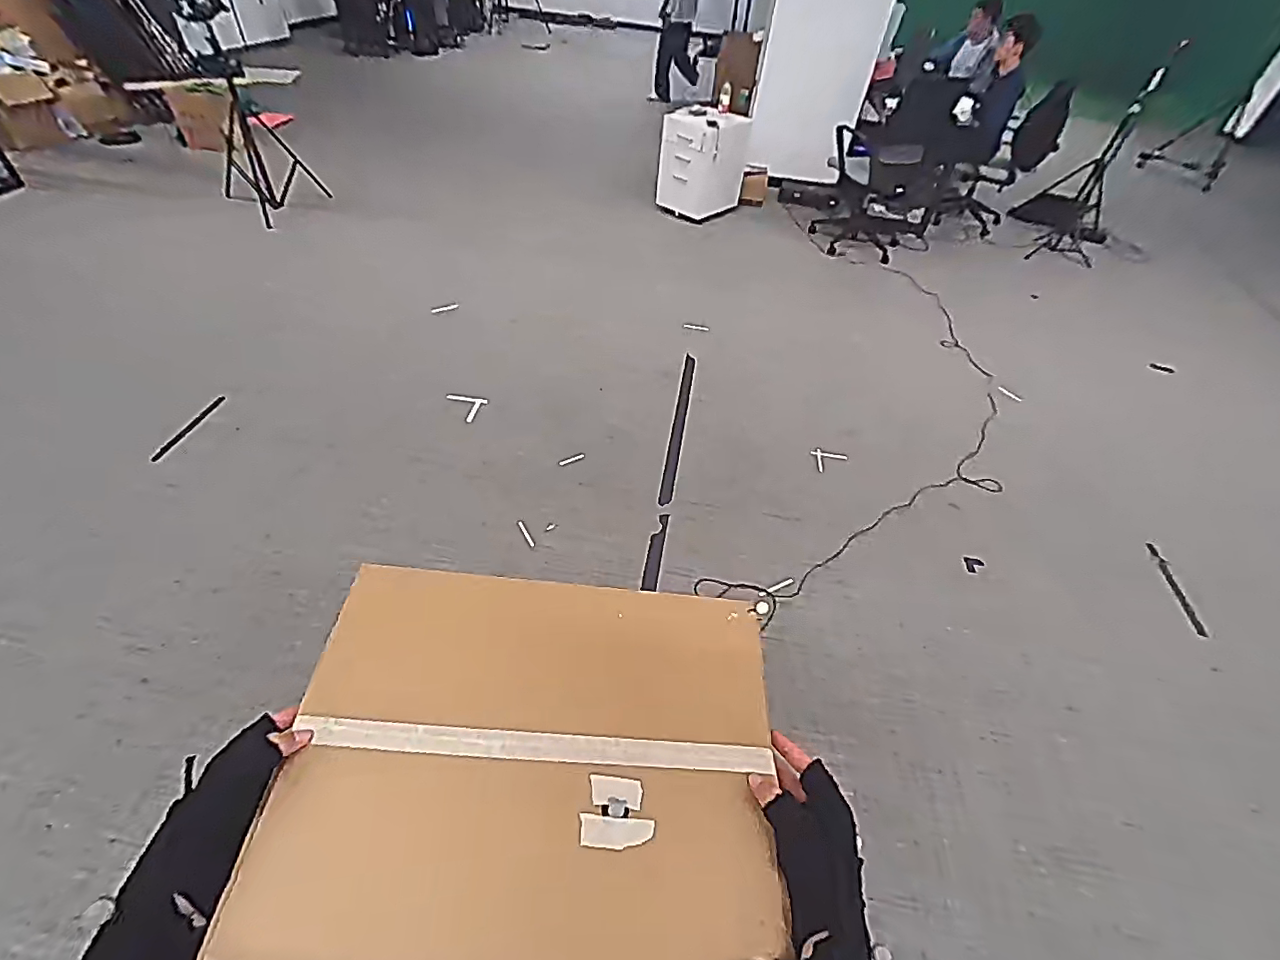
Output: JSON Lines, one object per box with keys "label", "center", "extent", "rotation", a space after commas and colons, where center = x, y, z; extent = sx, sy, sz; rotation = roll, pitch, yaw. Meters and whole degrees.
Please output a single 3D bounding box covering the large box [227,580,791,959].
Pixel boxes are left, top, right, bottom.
{"label": "large box", "center": [-0.102, 0.333, 0.583], "extent": [0.408, 0.320, 0.320], "rotation": [7, 51, -5]}
